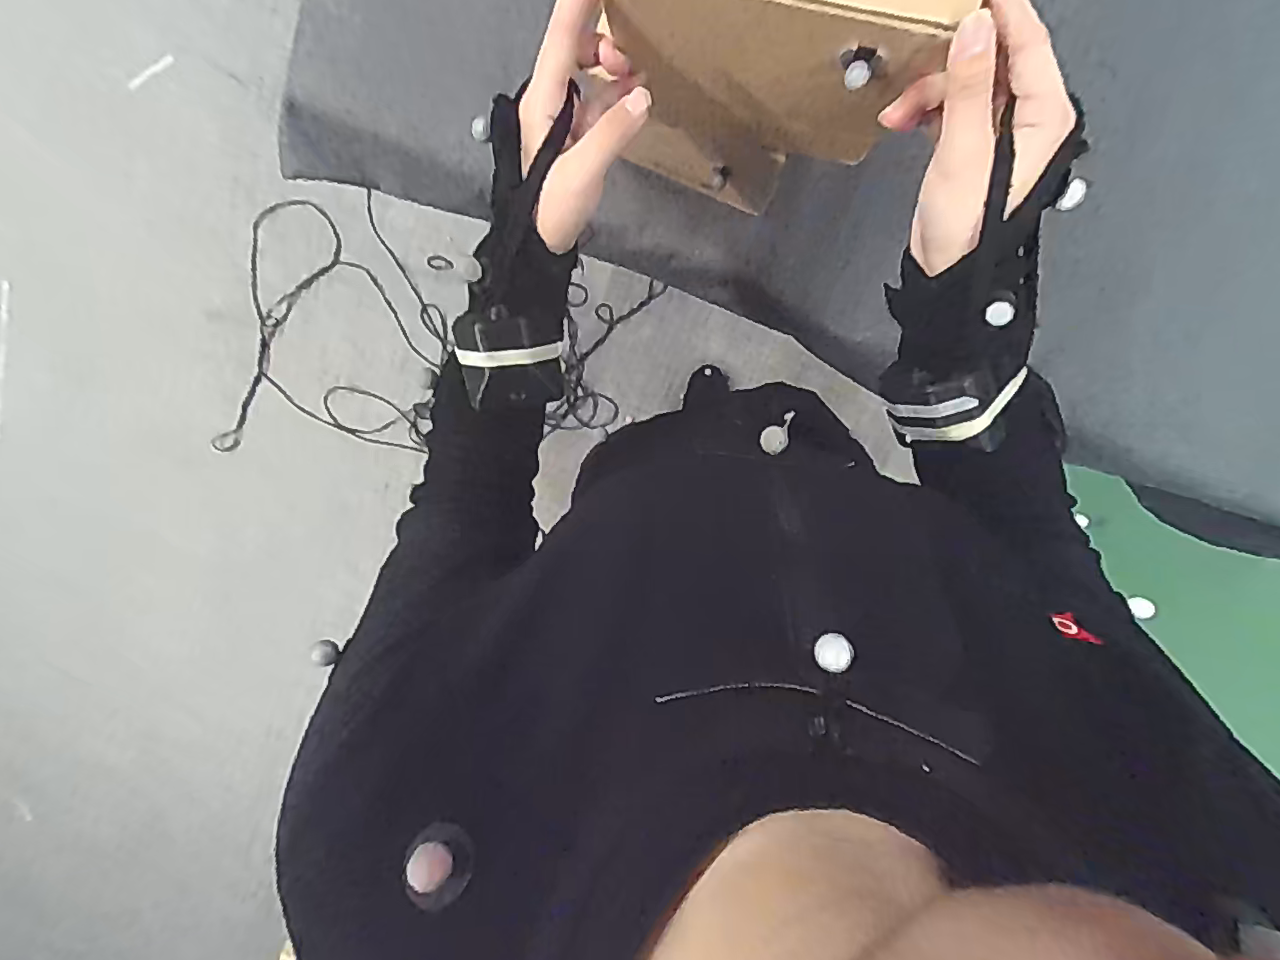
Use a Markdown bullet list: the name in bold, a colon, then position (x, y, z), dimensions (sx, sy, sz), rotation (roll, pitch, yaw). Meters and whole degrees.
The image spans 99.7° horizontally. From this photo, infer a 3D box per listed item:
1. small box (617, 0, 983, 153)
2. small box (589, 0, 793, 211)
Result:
- **small box**: position (0.083, -0.309, 0.298), dimensions (0.179, 0.176, 0.168), rotation (12, 103, 1)
- **small box**: position (0.075, -0.359, 0.455), dimensions (0.168, 0.176, 0.179), rotation (23, 103, -1)
